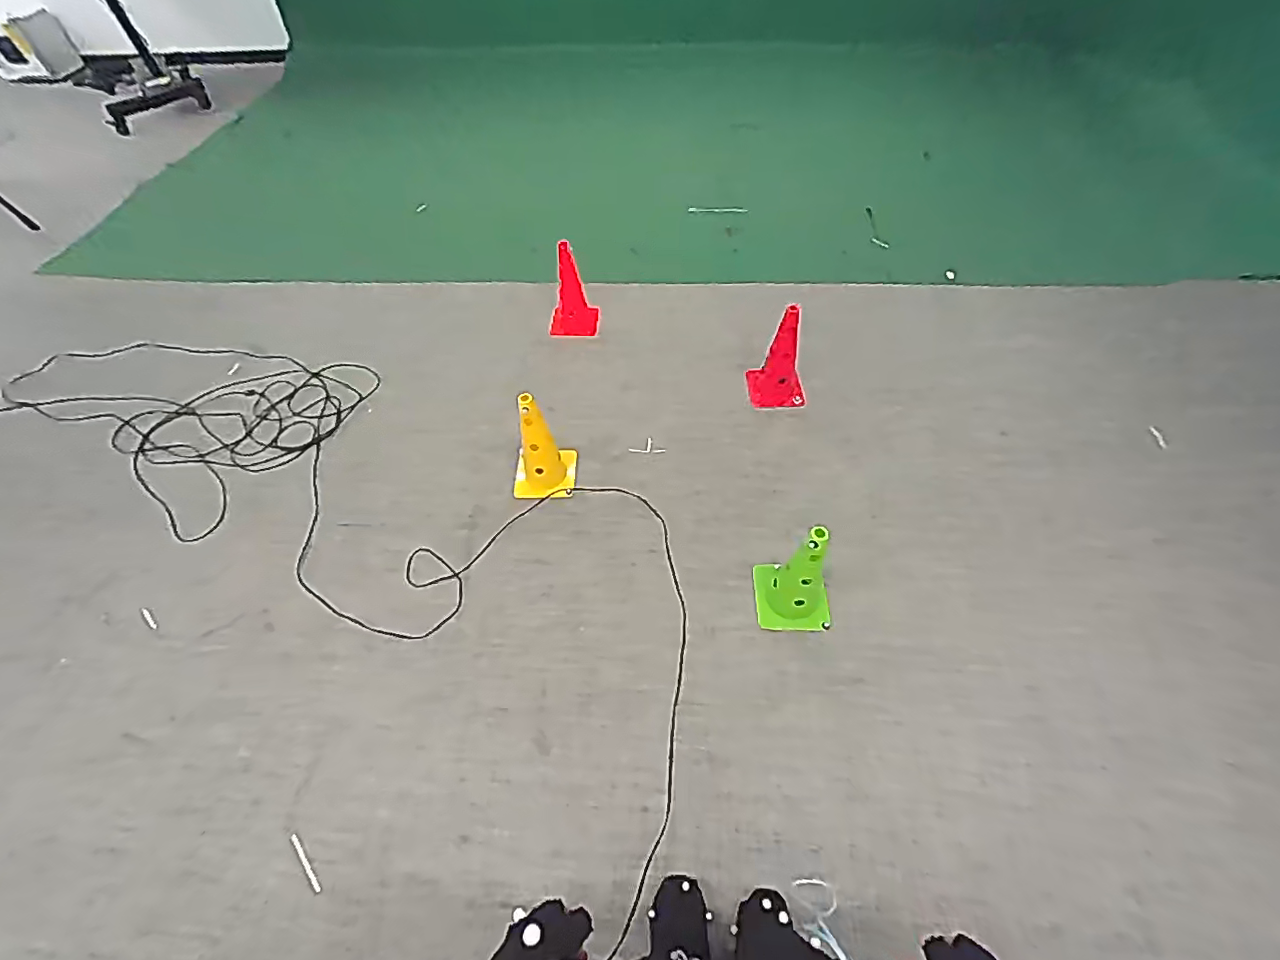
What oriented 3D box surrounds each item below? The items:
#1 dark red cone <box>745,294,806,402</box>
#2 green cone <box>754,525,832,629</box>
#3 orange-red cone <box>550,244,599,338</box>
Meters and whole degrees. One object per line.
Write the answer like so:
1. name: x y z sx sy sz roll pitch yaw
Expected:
1. dark red cone: 0.497 -0.466 1.889 0.202 0.394 0.201 -3 52 0
2. green cone: 0.424 0.225 1.405 0.202 0.368 0.200 -1 53 3
3. orange-red cone: -0.287 -0.776 2.183 0.198 0.360 0.199 1 54 4
